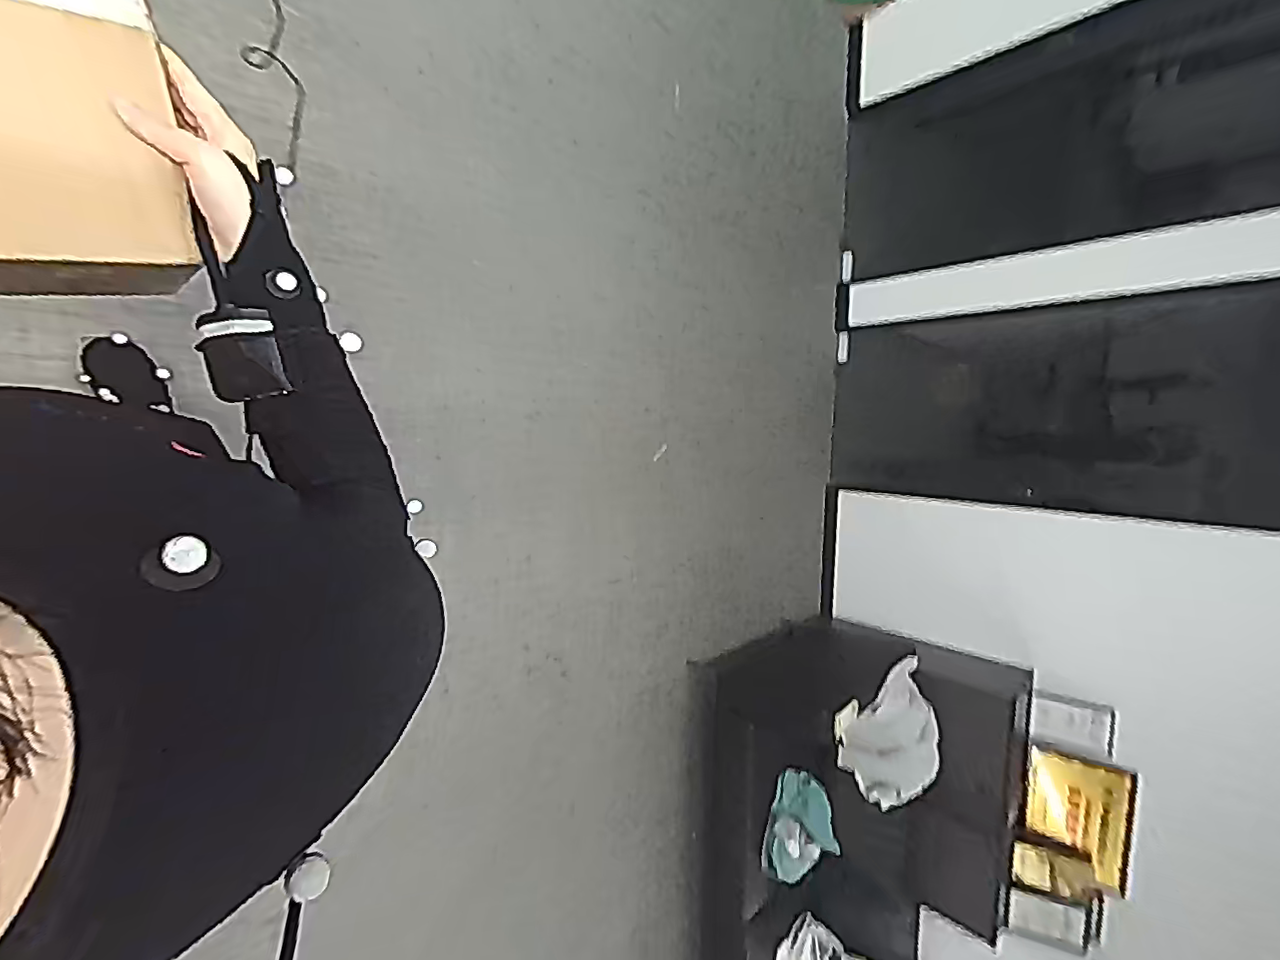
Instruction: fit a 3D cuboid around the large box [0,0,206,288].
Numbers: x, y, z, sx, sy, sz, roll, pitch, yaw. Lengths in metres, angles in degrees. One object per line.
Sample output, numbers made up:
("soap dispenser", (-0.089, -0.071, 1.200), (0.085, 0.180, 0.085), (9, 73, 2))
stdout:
("large box", (-0.583, -0.296, 0.342), (0.408, 0.320, 0.320), (-17, 112, -42))
